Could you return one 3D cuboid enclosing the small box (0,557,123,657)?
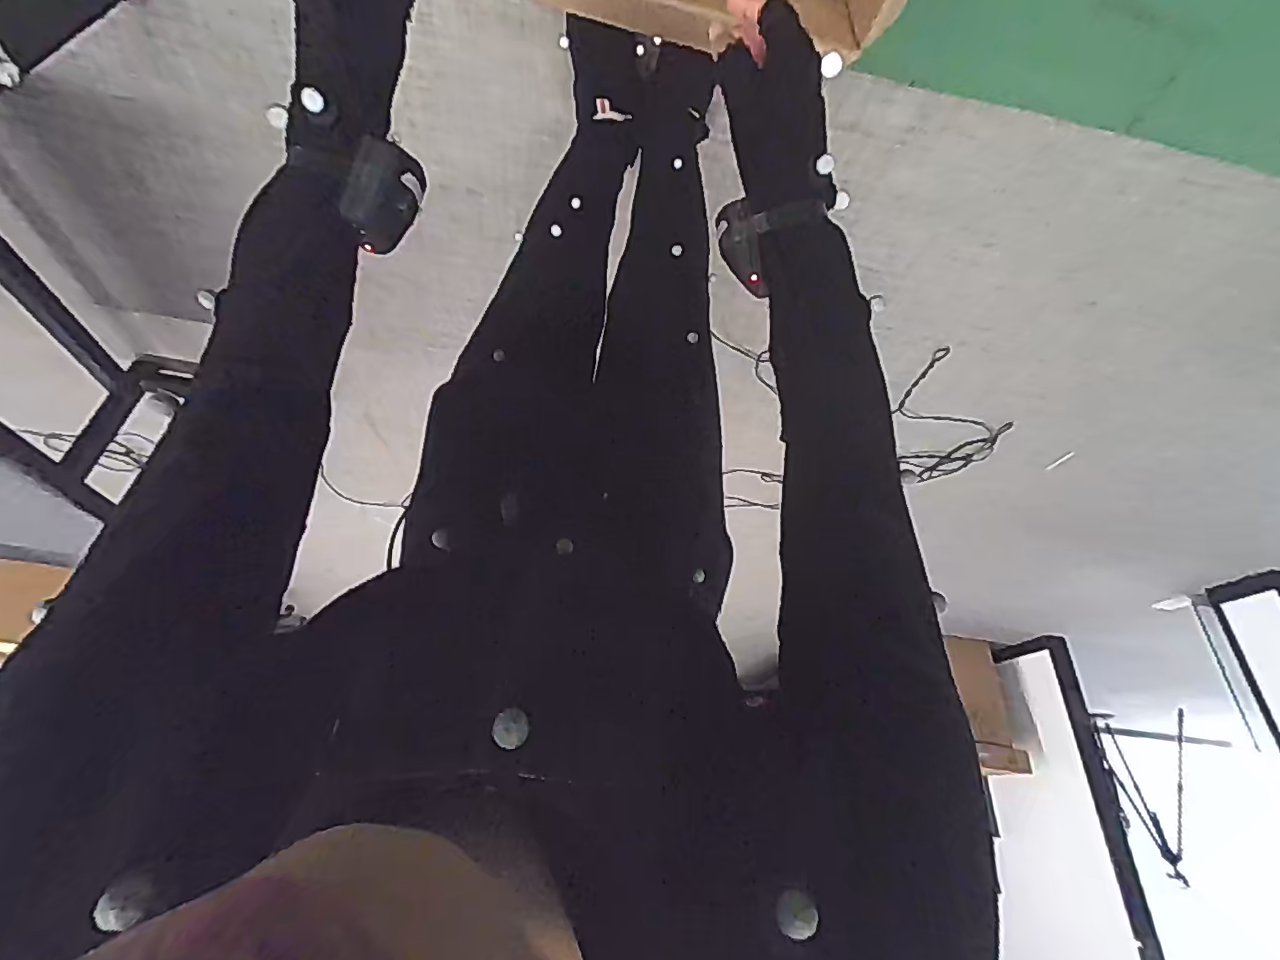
[{"bbox_3d":[-1.297,0.278,1.181,0.179,0.176,0.168,10,150,-6],"label":"small box"}]
